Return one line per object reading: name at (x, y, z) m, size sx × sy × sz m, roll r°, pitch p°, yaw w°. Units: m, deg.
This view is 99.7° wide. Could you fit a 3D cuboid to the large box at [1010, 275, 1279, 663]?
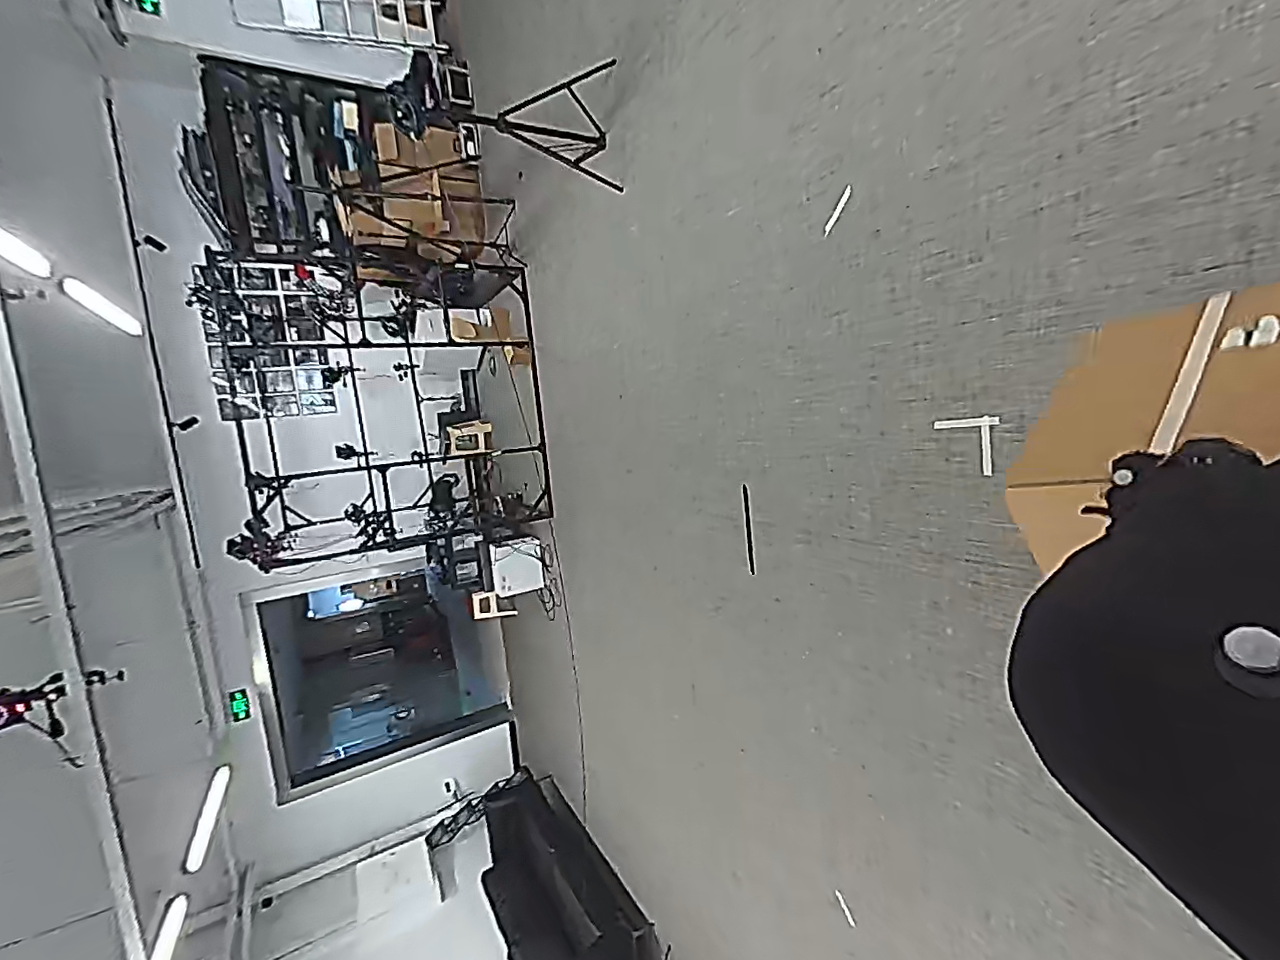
large box at (0.775, -0.019, 0.707) m, size 0.320 × 0.408 × 0.320 m, roll 53°, pitch 155°, yaw -16°
